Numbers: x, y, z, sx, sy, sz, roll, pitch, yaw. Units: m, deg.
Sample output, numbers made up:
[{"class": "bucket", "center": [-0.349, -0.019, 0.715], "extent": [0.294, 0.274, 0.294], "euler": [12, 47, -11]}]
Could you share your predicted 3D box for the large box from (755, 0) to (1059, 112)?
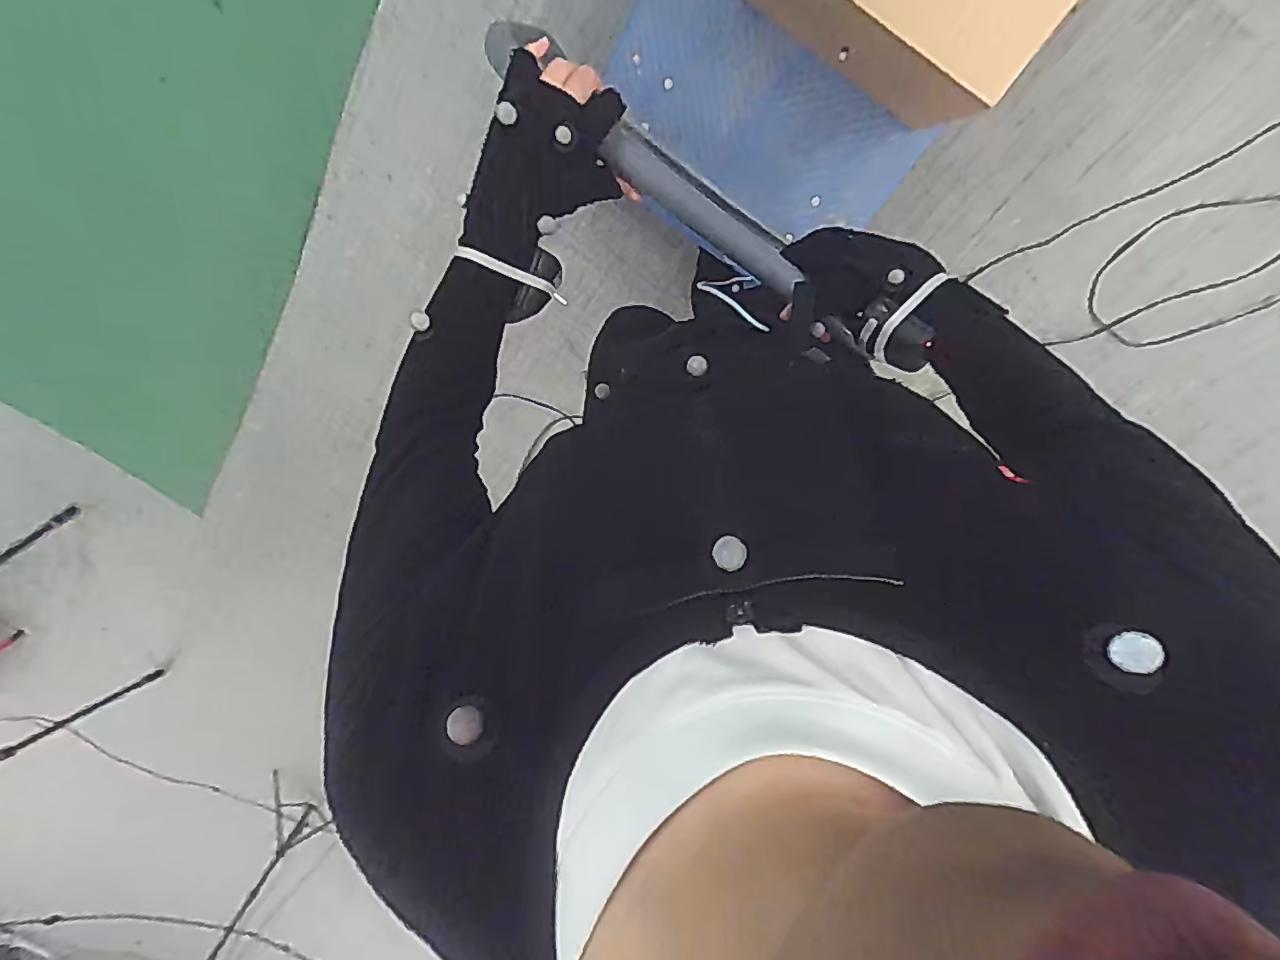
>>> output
[{"class": "large box", "center": [0.397, -0.797, 0.765], "extent": [0.408, 0.320, 0.320], "euler": [29, 119, -7]}]
